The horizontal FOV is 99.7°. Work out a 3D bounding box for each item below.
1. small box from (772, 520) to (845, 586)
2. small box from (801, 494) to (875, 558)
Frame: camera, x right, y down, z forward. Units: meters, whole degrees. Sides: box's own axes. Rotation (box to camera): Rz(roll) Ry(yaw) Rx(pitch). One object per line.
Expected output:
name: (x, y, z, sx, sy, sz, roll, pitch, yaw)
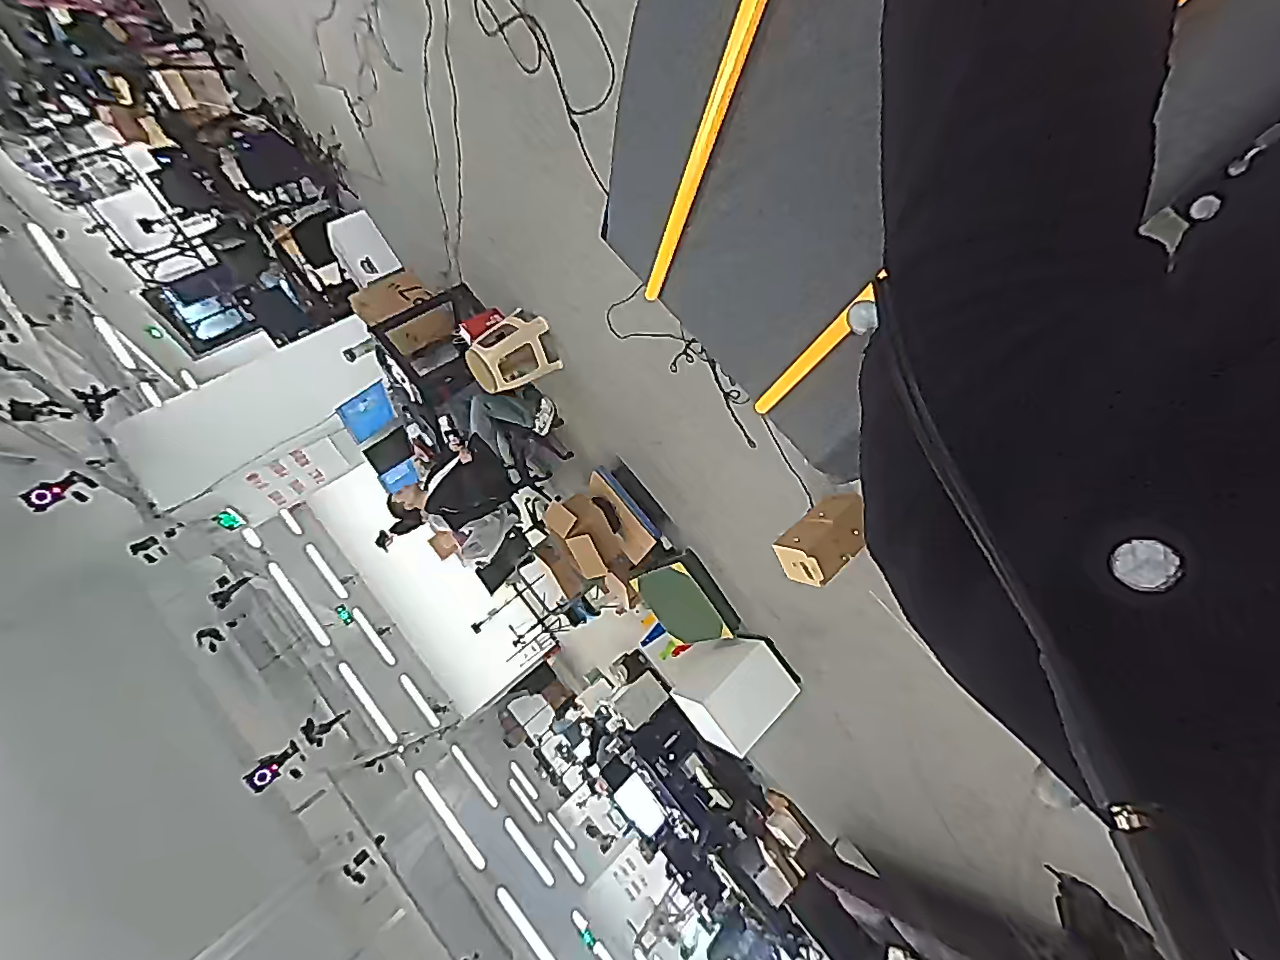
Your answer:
small box: (0.635, 0.264, 2.009, 0.179, 0.176, 0.168, 5, 127, 62)
small box: (0.760, 0.171, 2.063, 0.179, 0.176, 0.168, 59, 157, -12)
